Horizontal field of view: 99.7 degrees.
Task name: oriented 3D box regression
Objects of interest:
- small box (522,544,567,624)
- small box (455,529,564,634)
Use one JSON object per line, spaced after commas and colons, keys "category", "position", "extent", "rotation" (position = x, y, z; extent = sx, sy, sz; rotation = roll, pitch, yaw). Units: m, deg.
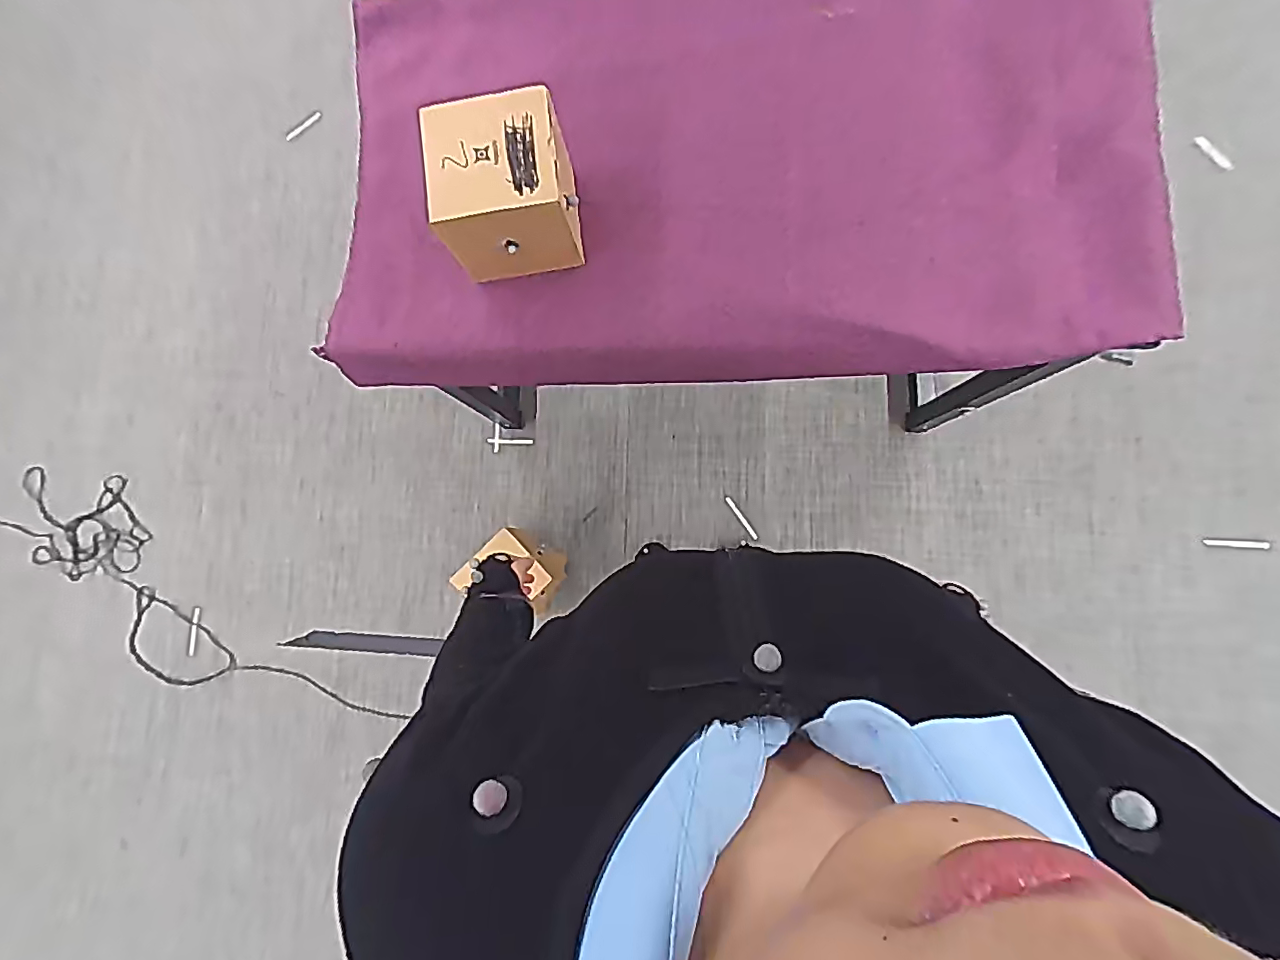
{"category": "small box", "position": [-0.310, 0.262, 1.454], "extent": [0.168, 0.176, 0.179], "rotation": [24, 86, 6]}
{"category": "small box", "position": [-0.299, 0.235, 1.290], "extent": [0.179, 0.176, 0.168], "rotation": [-44, 82, -2]}
